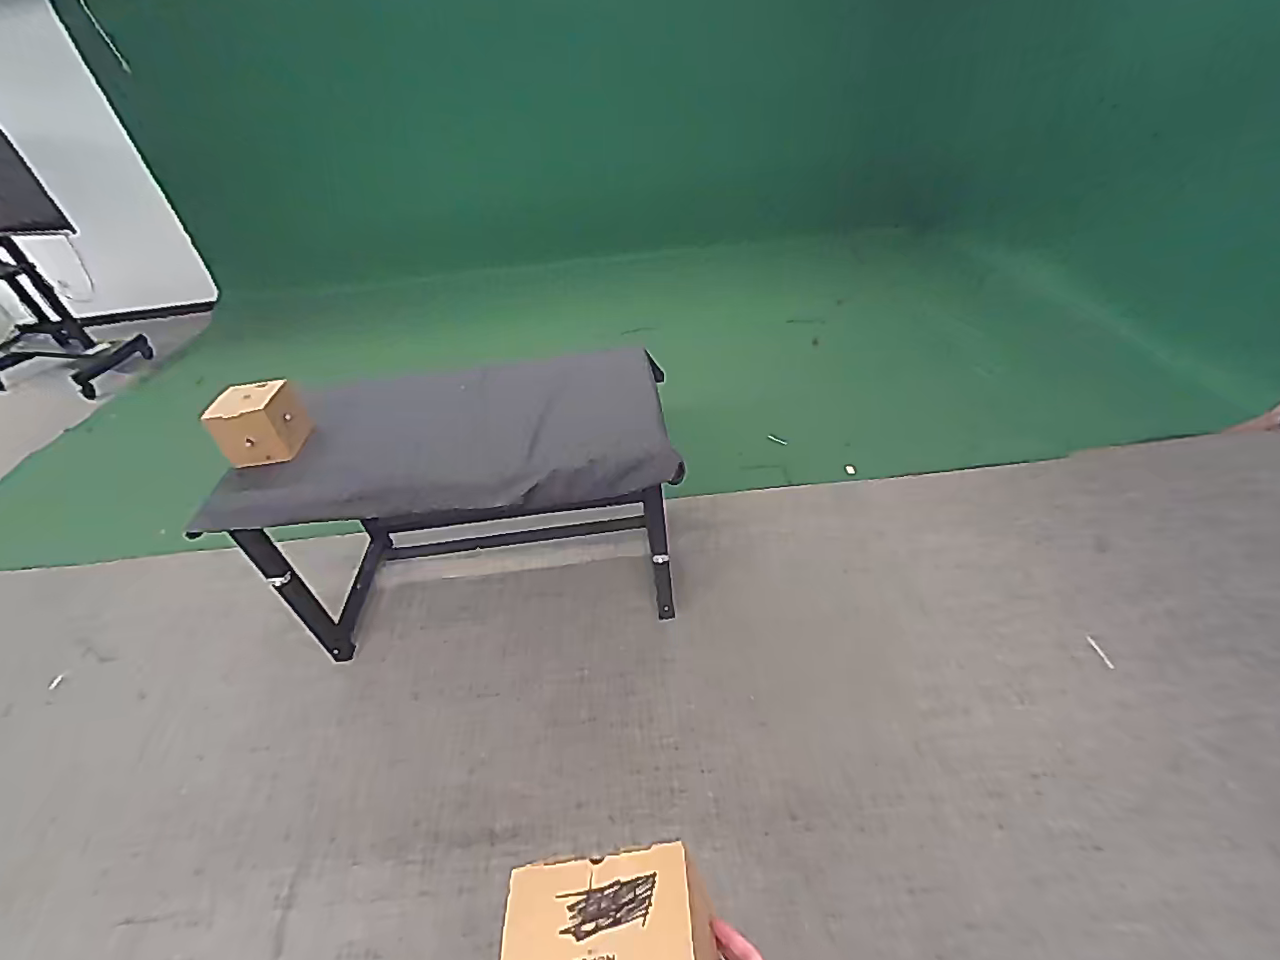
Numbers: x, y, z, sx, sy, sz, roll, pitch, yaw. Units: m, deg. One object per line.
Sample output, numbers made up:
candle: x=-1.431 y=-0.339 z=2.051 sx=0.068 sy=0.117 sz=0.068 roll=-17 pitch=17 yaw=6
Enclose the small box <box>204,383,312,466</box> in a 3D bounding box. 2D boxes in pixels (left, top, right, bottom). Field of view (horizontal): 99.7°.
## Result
small box: x=-1.070 y=-0.152 z=1.535 sx=0.168 sy=0.176 sz=0.179 roll=-8 pitch=40 yaw=-3
